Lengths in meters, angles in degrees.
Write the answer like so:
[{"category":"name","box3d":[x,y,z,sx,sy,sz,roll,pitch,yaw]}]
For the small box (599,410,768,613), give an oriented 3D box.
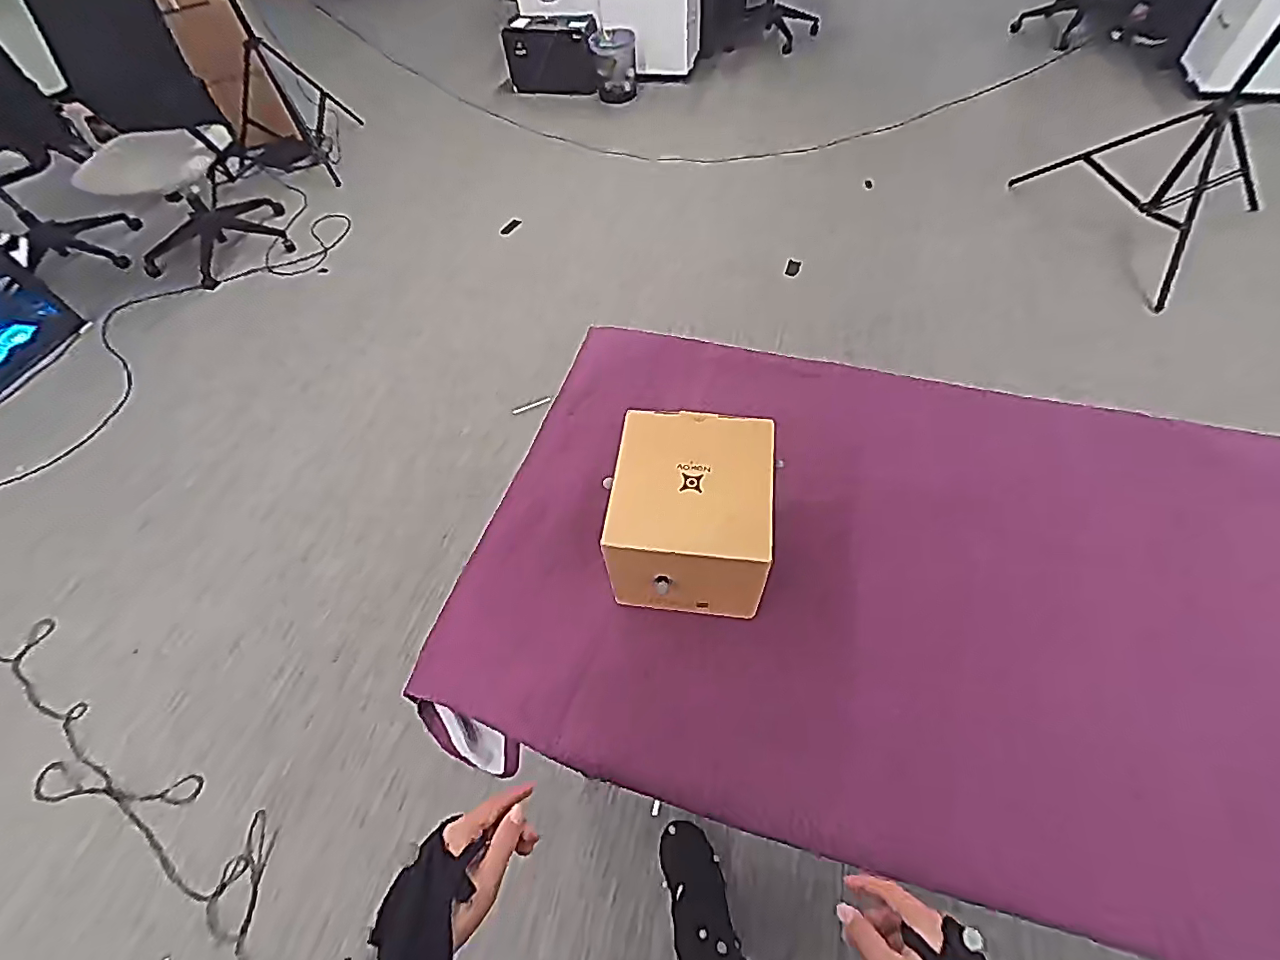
[{"category":"small box","box3d":[0.057,0.041,0.630,0.168,0.176,0.179,4,56,8]}]
